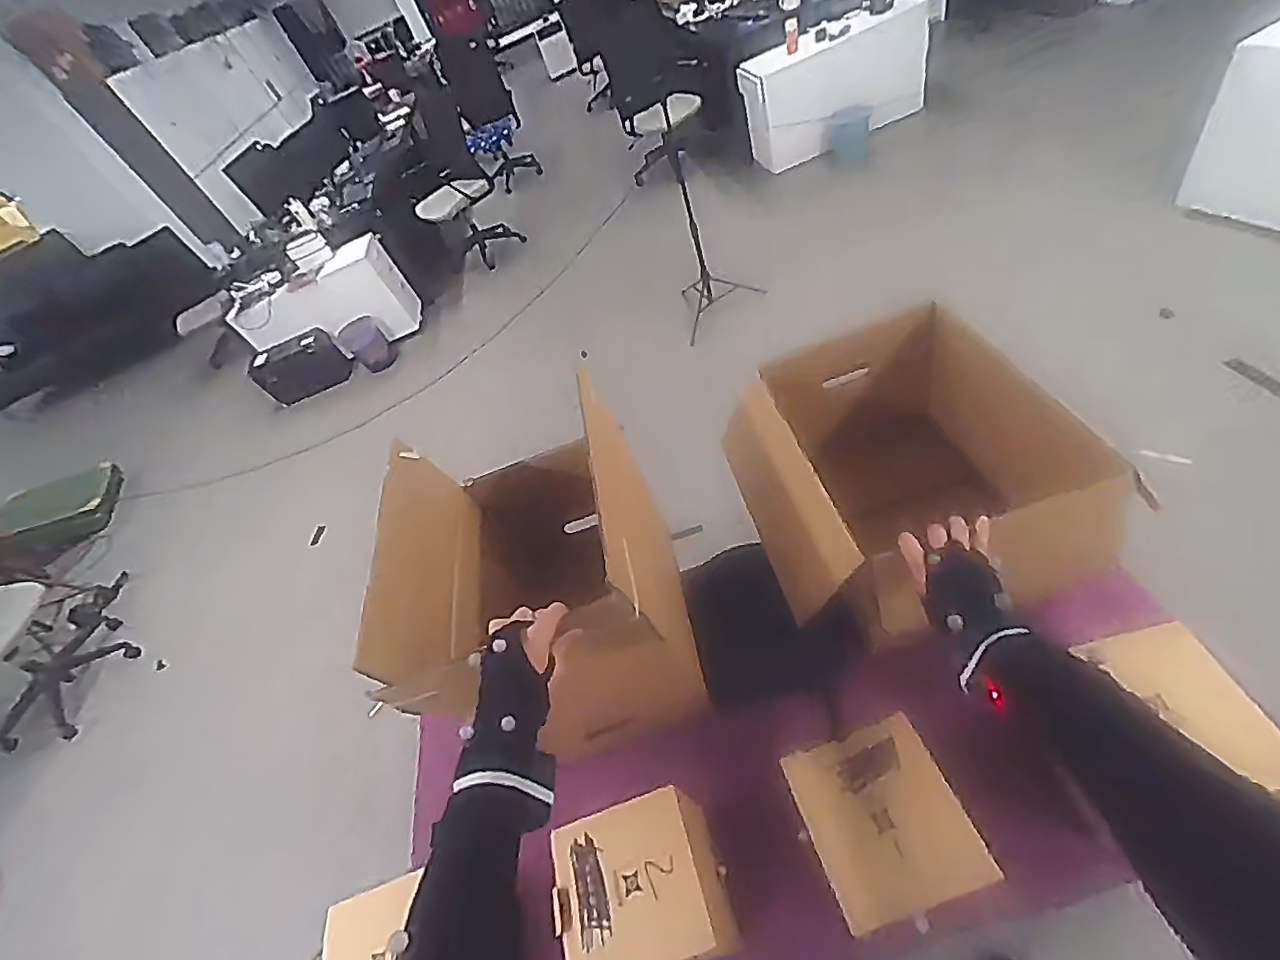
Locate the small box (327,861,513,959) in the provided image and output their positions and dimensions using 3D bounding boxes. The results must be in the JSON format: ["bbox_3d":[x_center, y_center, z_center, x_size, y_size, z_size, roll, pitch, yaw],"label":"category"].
[{"bbox_3d":[-0.289,0.647,0.724,0.179,0.176,0.168,-24,46,2],"label":"small box"}]

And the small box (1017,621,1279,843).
[{"bbox_3d":[0.583,0.298,0.635,0.168,0.176,0.179,-19,46,10],"label":"small box"}]

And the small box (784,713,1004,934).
[{"bbox_3d":[0.294,0.421,0.659,0.168,0.176,0.179,-24,47,4],"label":"small box"}]
